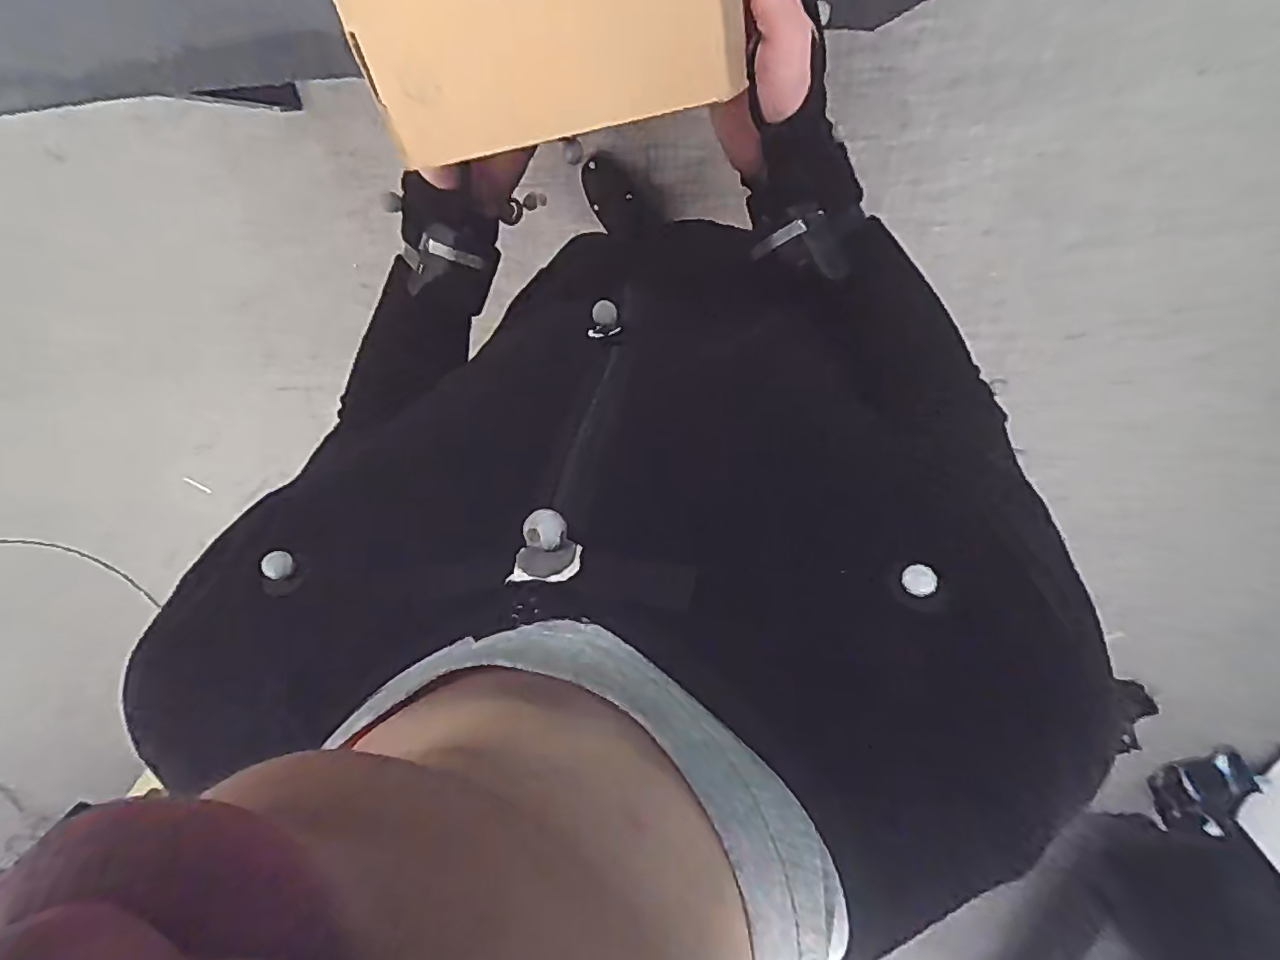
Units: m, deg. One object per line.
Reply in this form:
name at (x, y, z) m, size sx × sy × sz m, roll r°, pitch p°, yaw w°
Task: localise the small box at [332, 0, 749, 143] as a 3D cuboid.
small box at (-0.045, -0.286, 0.269) m, size 0.179 × 0.176 × 0.168 m, roll -2°, pitch 127°, yaw 17°
